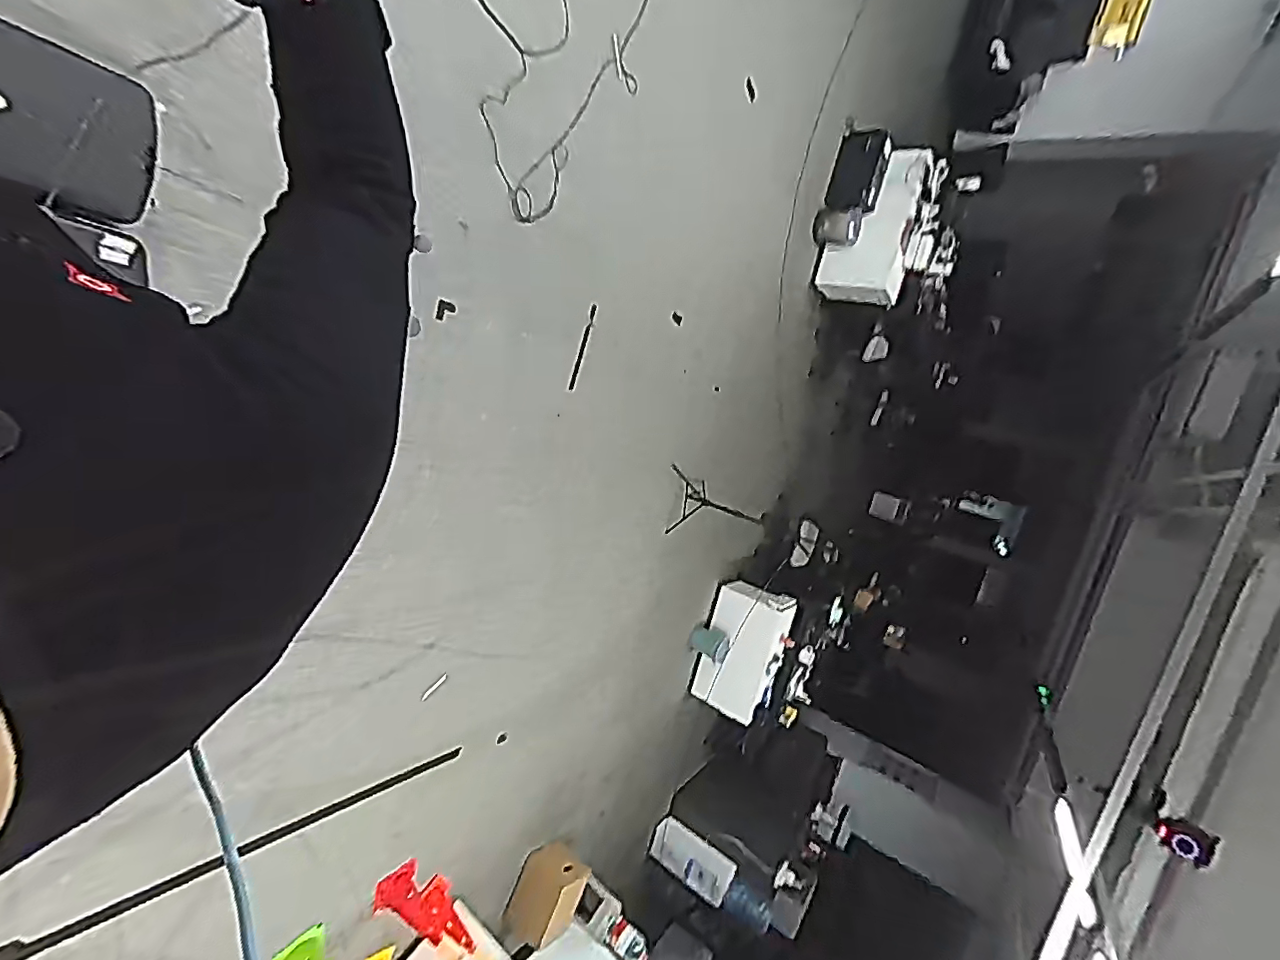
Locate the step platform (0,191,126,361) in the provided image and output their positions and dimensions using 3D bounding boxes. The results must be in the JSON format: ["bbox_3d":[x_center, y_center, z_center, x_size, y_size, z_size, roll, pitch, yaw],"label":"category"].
[{"bbox_3d":[-1.296,-0.392,0.869,0.684,0.204,0.286,1,106,-55],"label":"step platform"}]
